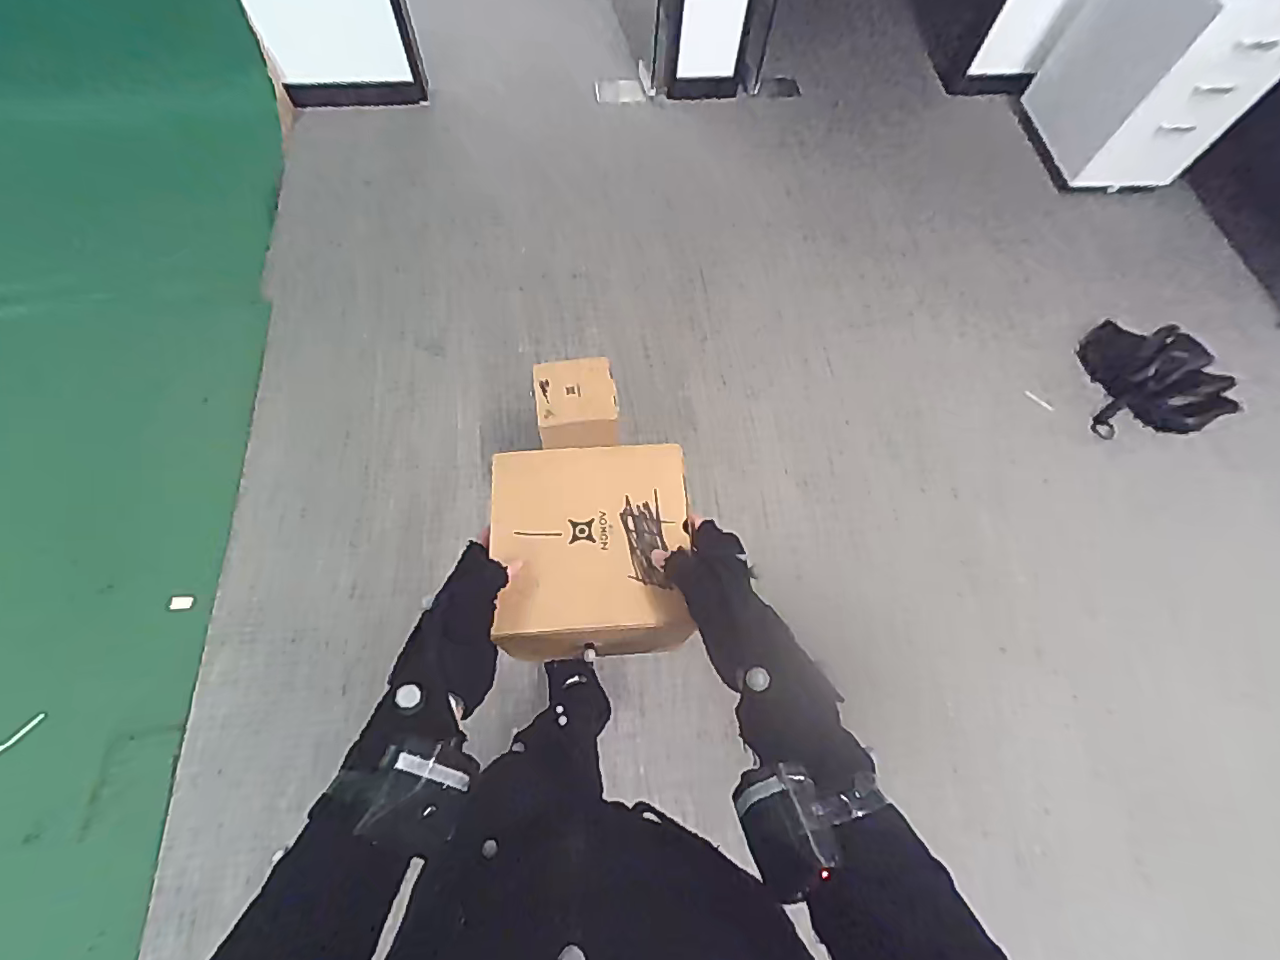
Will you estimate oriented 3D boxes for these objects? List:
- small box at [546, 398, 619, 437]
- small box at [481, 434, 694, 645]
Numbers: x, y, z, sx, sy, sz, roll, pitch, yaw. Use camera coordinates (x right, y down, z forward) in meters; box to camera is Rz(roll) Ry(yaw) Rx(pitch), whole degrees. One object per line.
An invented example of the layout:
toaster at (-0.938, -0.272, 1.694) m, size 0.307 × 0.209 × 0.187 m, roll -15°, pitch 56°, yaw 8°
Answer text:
small box at (-0.147, -0.098, 1.425) m, size 0.179 × 0.176 × 0.168 m, roll -6°, pitch 66°, yaw -4°
small box at (-0.048, 0.068, 0.545) m, size 0.179 × 0.176 × 0.168 m, roll 0°, pitch 64°, yaw -3°
